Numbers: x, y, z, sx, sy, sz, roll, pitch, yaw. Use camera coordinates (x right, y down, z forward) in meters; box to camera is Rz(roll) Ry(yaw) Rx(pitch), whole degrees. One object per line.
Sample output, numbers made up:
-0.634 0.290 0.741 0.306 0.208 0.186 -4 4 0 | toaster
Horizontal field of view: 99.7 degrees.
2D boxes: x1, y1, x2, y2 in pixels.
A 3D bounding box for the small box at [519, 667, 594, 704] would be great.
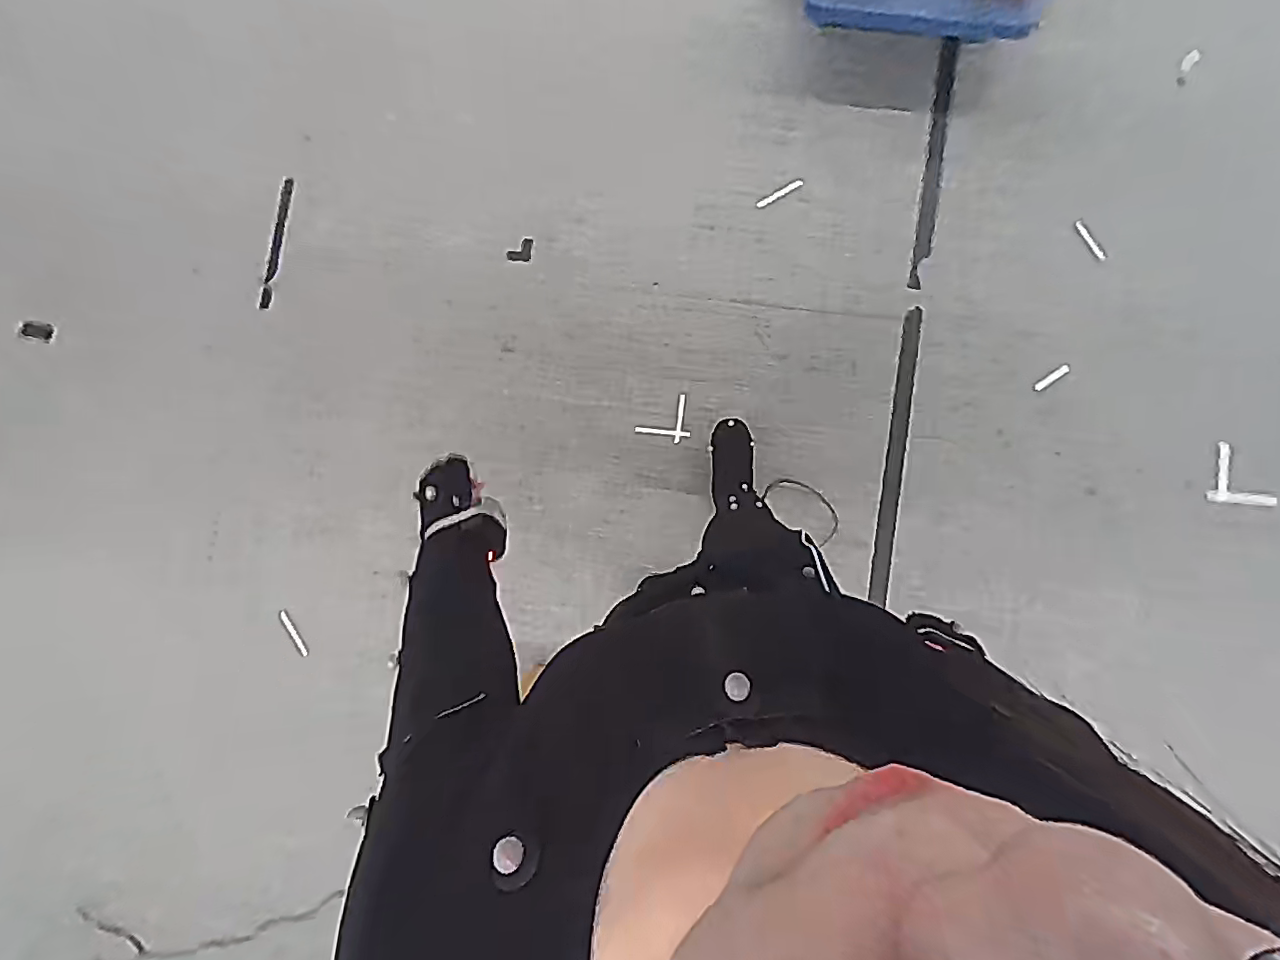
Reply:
-0.224 0.608 1.424 0.179 0.176 0.168 11 88 3 | small box
